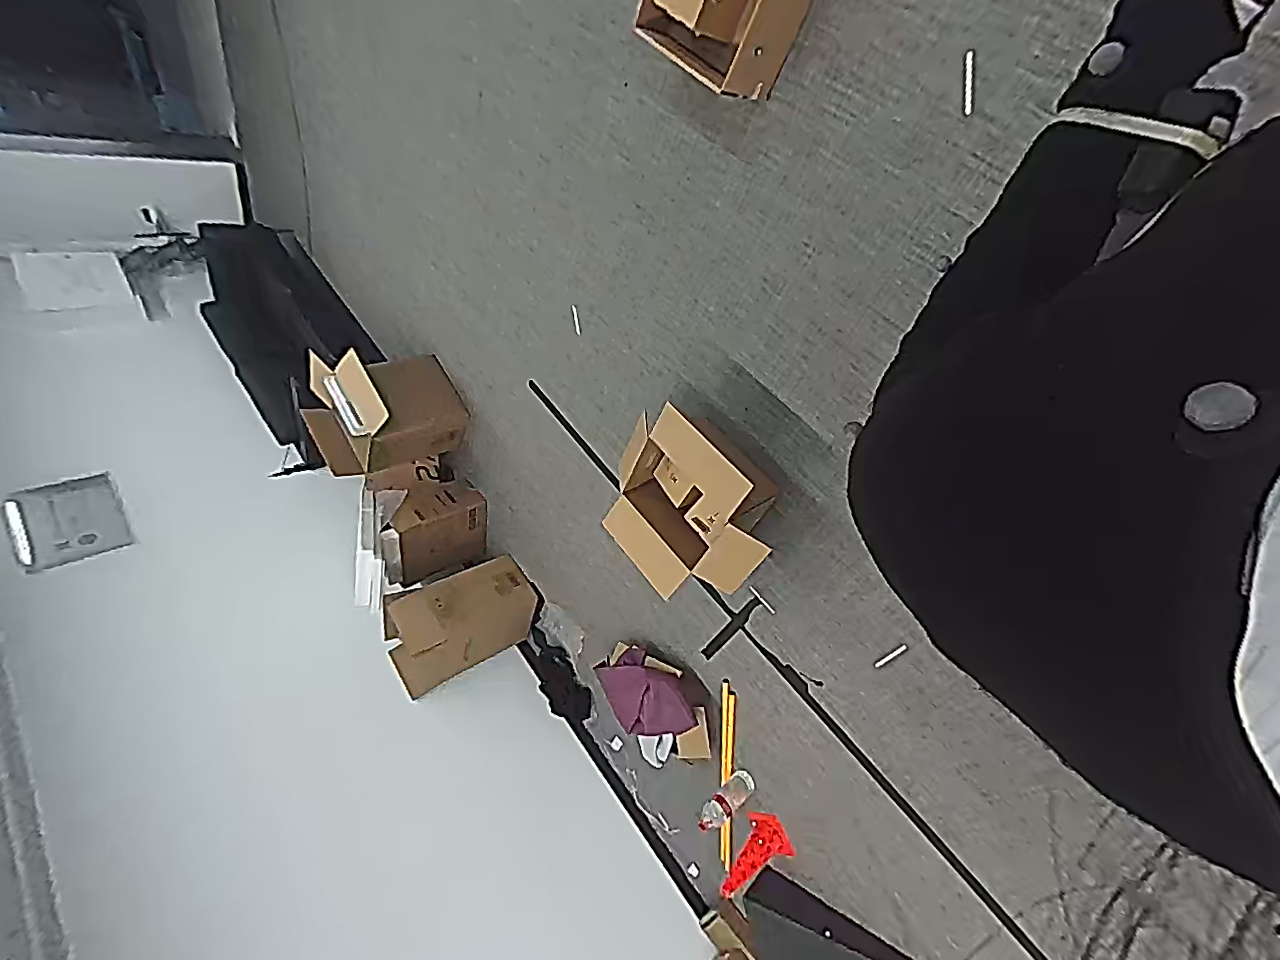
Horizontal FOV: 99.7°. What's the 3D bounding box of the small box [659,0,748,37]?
[{"bbox_3d":[0.181,-1.293,1.397,0.168,0.176,0.179,50,136,17],"label":"small box"}]
